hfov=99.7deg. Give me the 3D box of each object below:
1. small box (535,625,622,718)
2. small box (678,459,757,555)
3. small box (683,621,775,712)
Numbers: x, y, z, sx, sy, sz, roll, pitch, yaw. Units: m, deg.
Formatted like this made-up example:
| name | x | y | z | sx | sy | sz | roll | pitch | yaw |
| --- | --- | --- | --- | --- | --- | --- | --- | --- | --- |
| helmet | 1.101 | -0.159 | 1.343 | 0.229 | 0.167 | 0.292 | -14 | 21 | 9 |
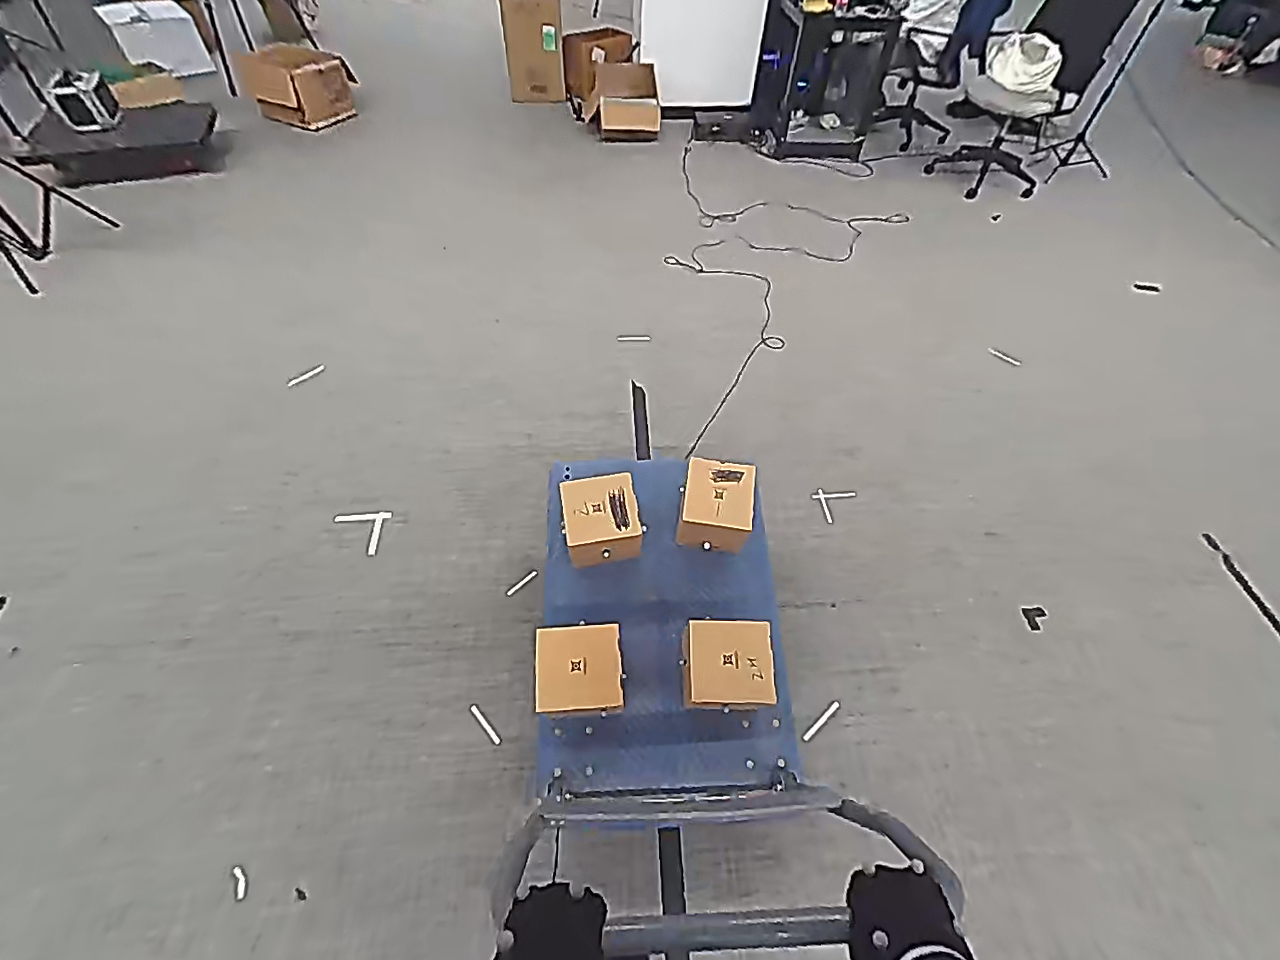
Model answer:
| name | x | y | z | sx | sy | sz | roll | pitch | yaw |
| --- | --- | --- | --- | --- | --- | --- | --- | --- | --- |
| small box | -0.130 | 0.419 | 1.174 | 0.179 | 0.176 | 0.168 | -2 | 63 | -5 |
| small box | 0.191 | 0.071 | 1.365 | 0.168 | 0.176 | 0.179 | 9 | 64 | 2 |
| small box | 0.187 | 0.414 | 1.188 | 0.179 | 0.176 | 0.168 | 2 | 63 | -1 |
